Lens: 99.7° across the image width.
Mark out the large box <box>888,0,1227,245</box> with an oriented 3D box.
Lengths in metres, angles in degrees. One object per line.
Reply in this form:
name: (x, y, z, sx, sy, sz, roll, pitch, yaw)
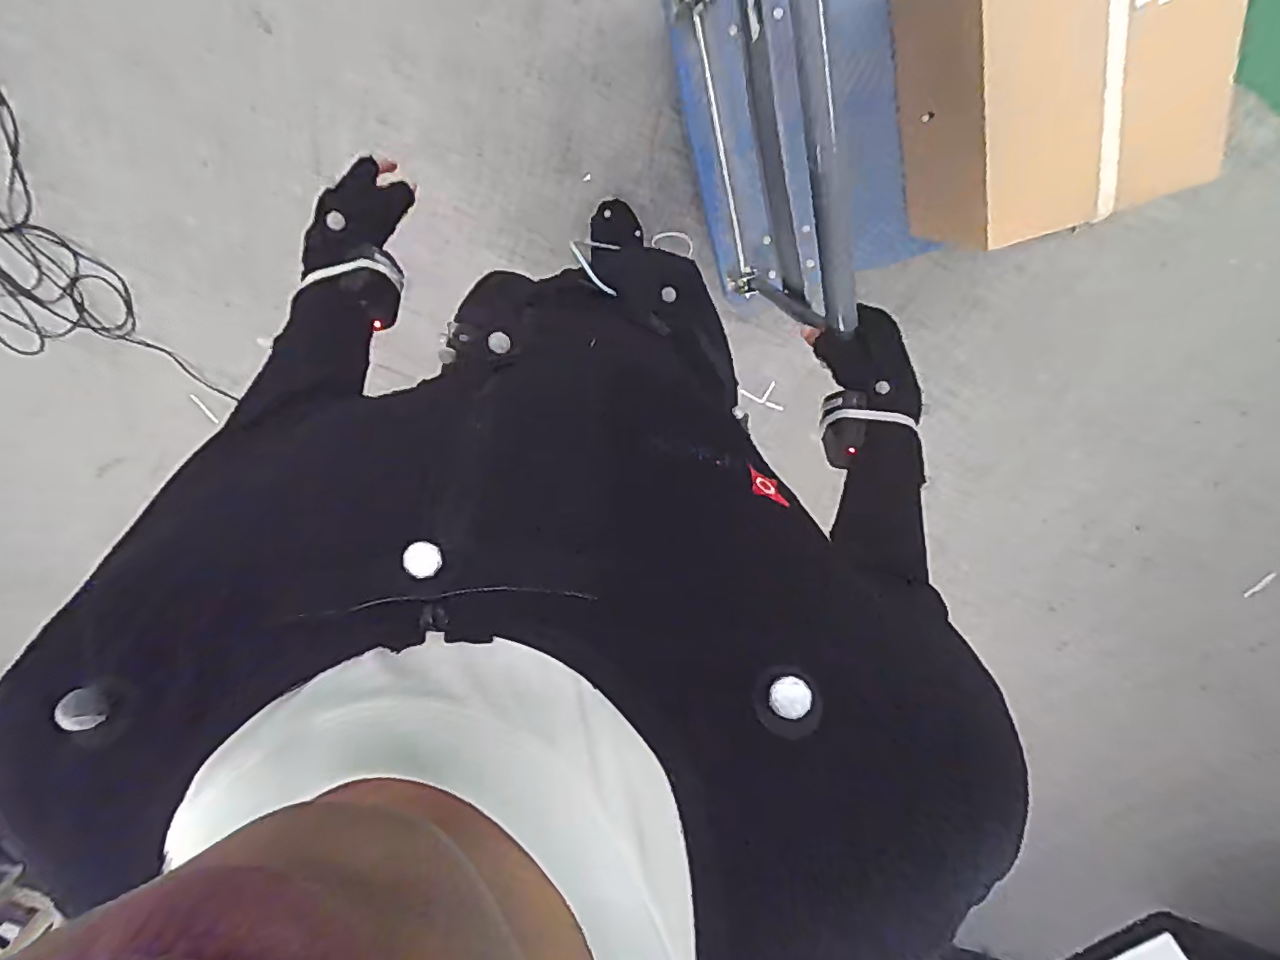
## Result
large box: (0.620, -0.638, 0.857, 0.320, 0.320, 0.408, -15, 116, 9)
